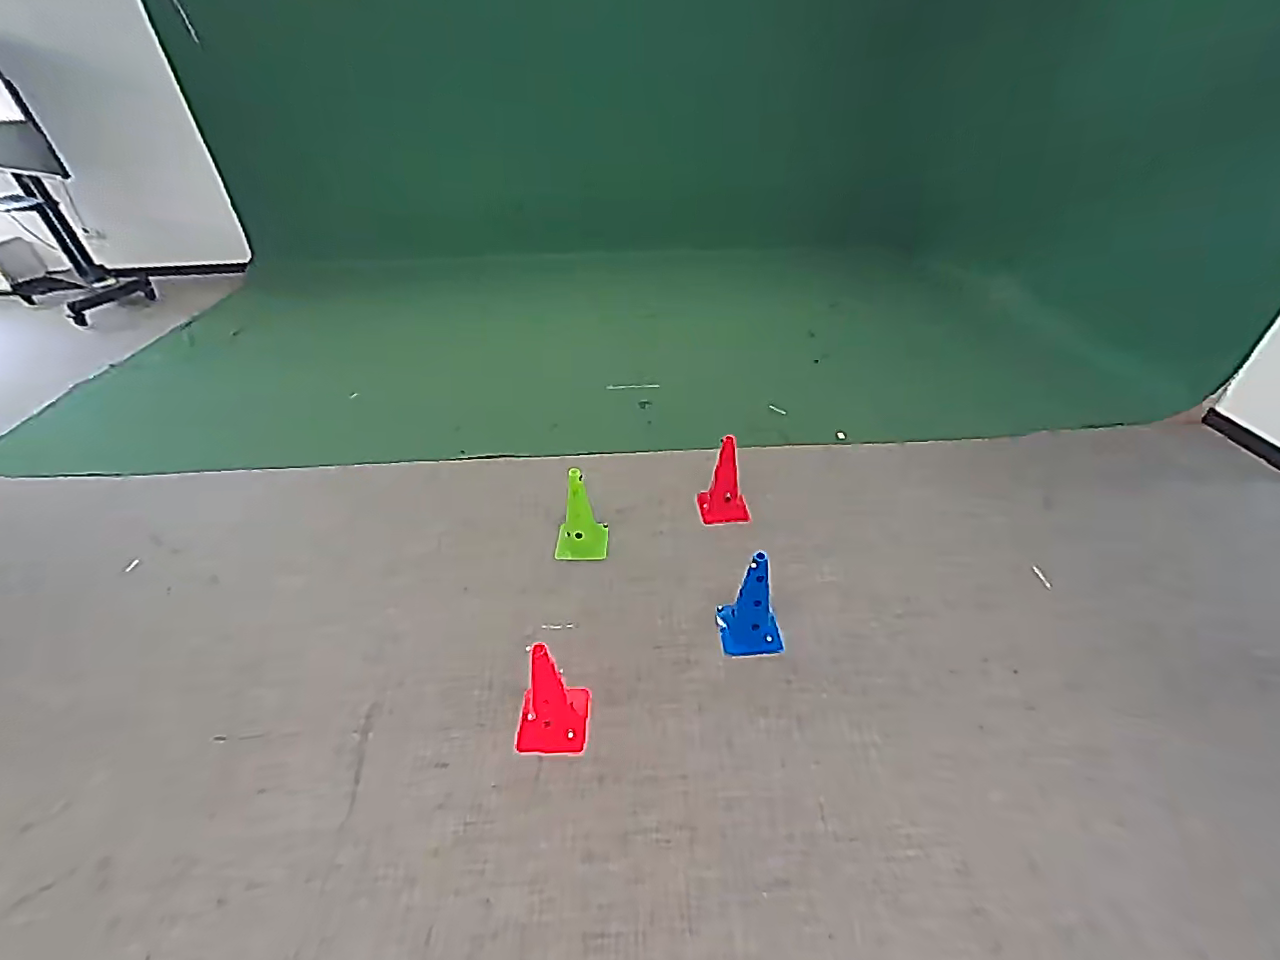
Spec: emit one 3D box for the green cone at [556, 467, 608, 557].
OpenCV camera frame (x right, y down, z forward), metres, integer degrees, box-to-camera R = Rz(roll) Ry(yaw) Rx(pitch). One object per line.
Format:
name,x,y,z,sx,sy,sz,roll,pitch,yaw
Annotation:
green cone,-0.234,0.100,2.051,0.200,0.368,0.202,-1,40,1

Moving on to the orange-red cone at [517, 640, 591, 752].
orange-red cone,-0.250,0.559,1.481,0.198,0.360,0.199,1,37,2
